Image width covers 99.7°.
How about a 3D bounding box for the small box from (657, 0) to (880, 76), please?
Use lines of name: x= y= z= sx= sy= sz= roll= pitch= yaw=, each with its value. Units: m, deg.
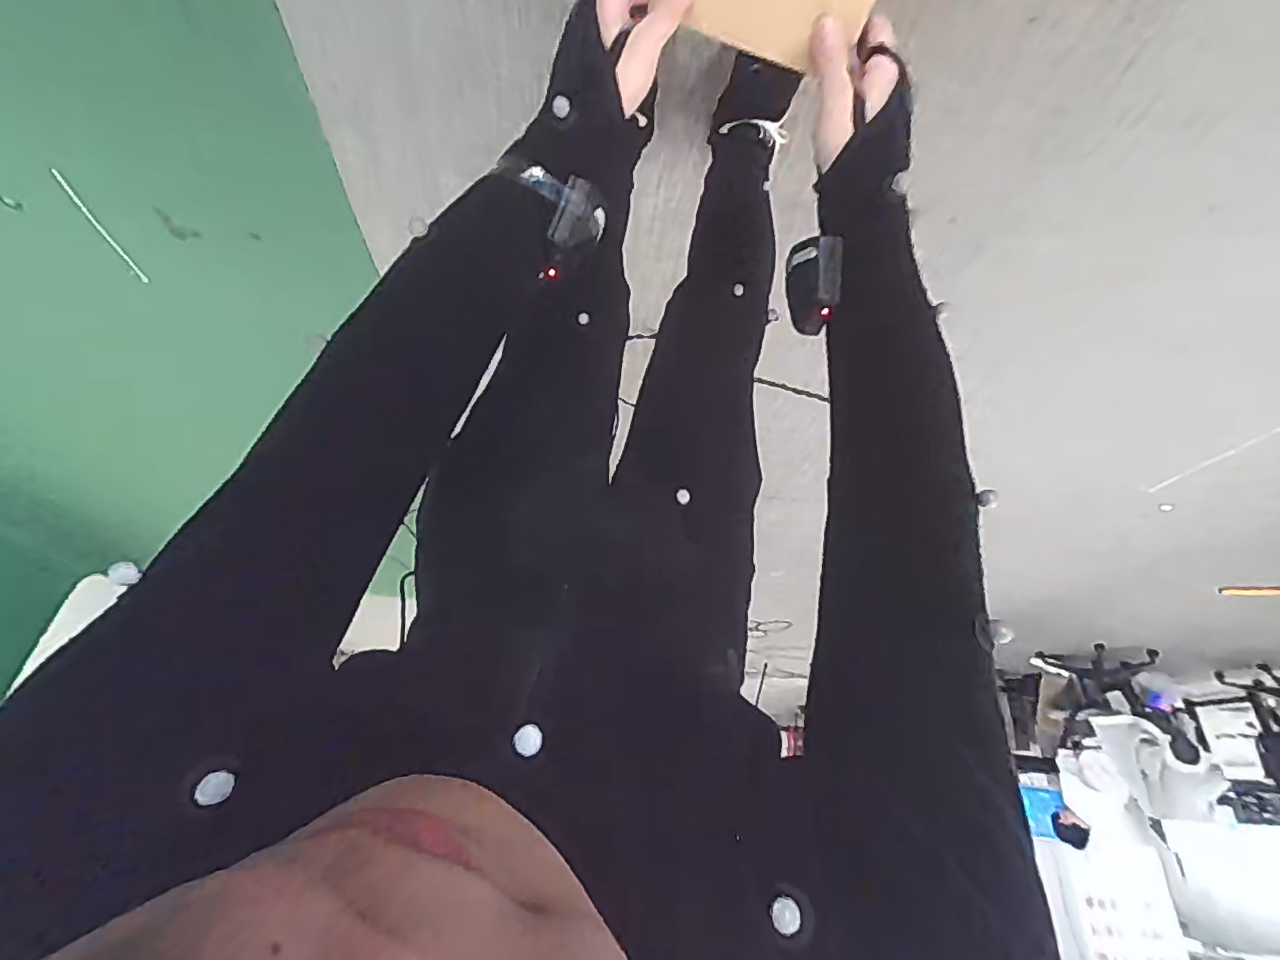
small box: x=0.122 y=-0.459 z=0.417 sx=0.168 sy=0.176 sz=0.179 roll=15 pitch=137 yaw=-6
